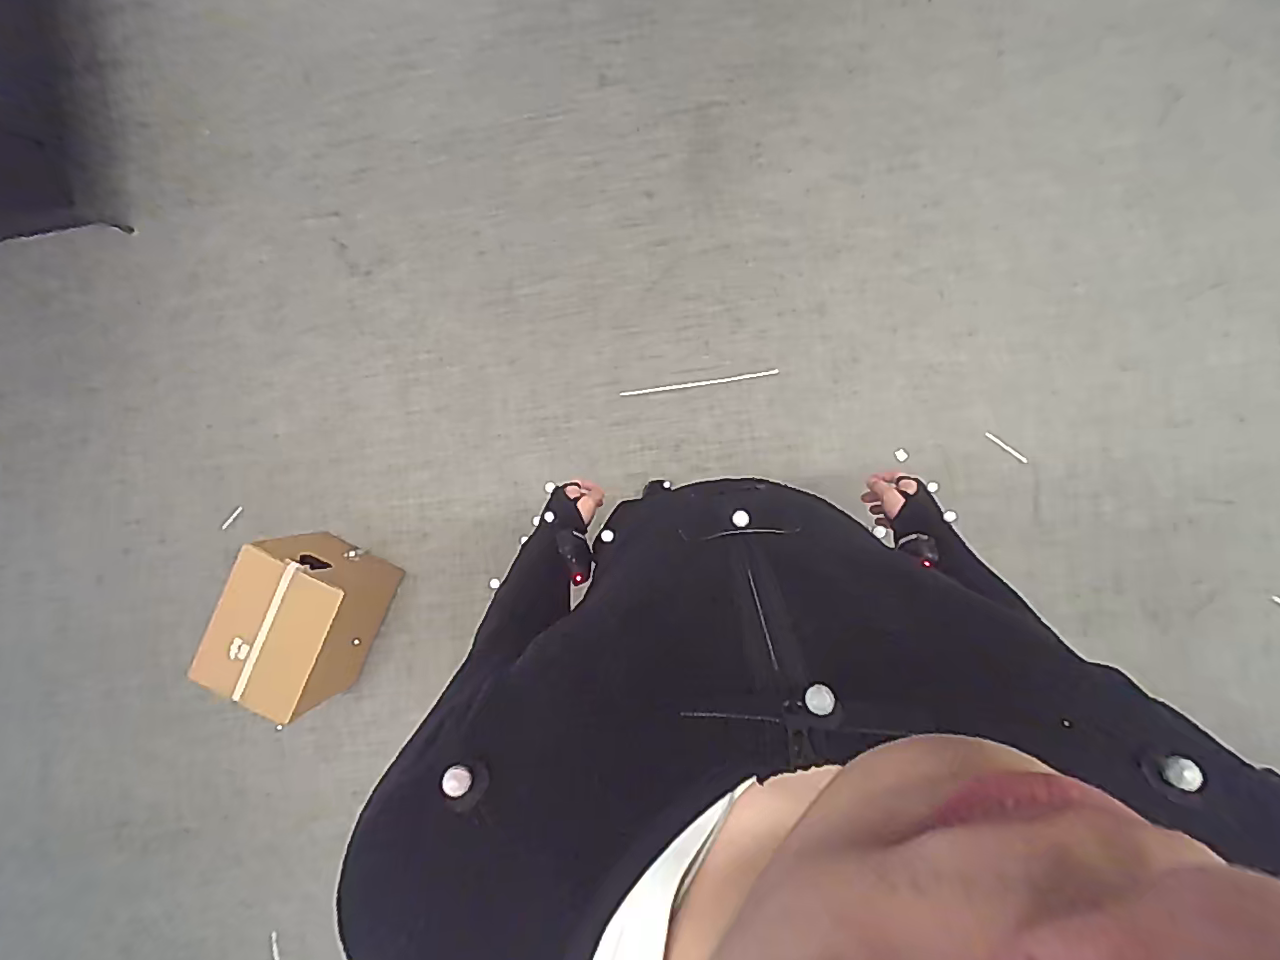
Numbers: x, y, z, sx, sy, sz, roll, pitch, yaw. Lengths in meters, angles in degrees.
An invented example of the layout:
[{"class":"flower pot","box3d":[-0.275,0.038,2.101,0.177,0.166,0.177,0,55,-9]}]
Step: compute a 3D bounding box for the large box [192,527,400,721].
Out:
[{"class":"large box","box3d":[-0.975,0.393,1.575,0.320,0.320,0.408,25,94,4]}]
